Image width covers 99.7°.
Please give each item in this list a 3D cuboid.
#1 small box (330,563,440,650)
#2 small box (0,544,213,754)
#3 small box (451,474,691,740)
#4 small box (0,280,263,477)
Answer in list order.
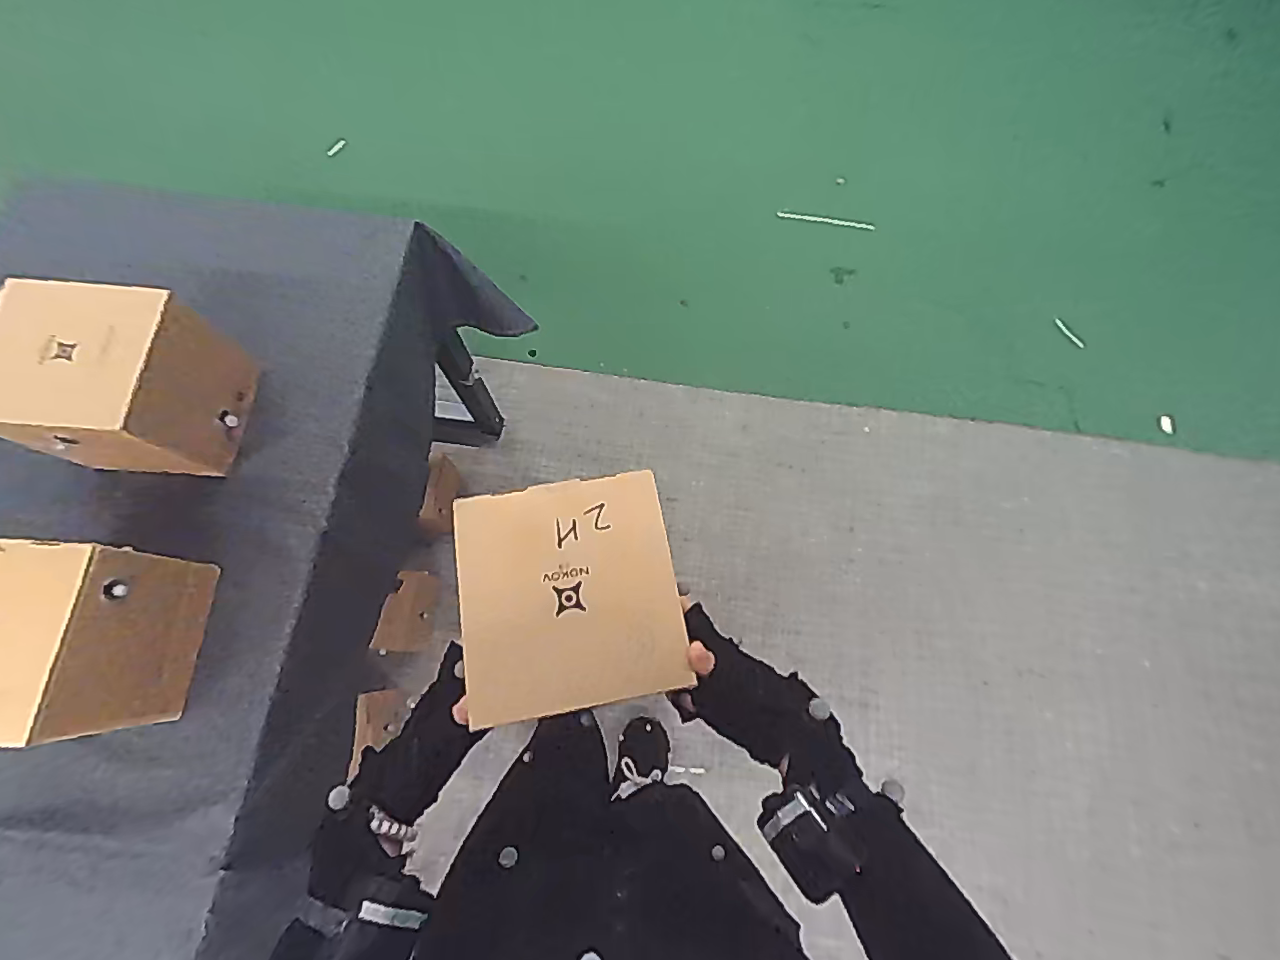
[{"bbox_3d":[-0.586,0.298,1.268,0.168,0.176,0.179,5,74,0],"label":"small box"},{"bbox_3d":[-0.590,0.165,0.552,0.168,0.176,0.179,3,73,-1],"label":"small box"},{"bbox_3d":[-0.057,0.115,0.483,0.168,0.176,0.179,-10,69,-5],"label":"small box"},{"bbox_3d":[-0.596,-0.107,0.631,0.179,0.176,0.168,5,74,-1],"label":"small box"}]
